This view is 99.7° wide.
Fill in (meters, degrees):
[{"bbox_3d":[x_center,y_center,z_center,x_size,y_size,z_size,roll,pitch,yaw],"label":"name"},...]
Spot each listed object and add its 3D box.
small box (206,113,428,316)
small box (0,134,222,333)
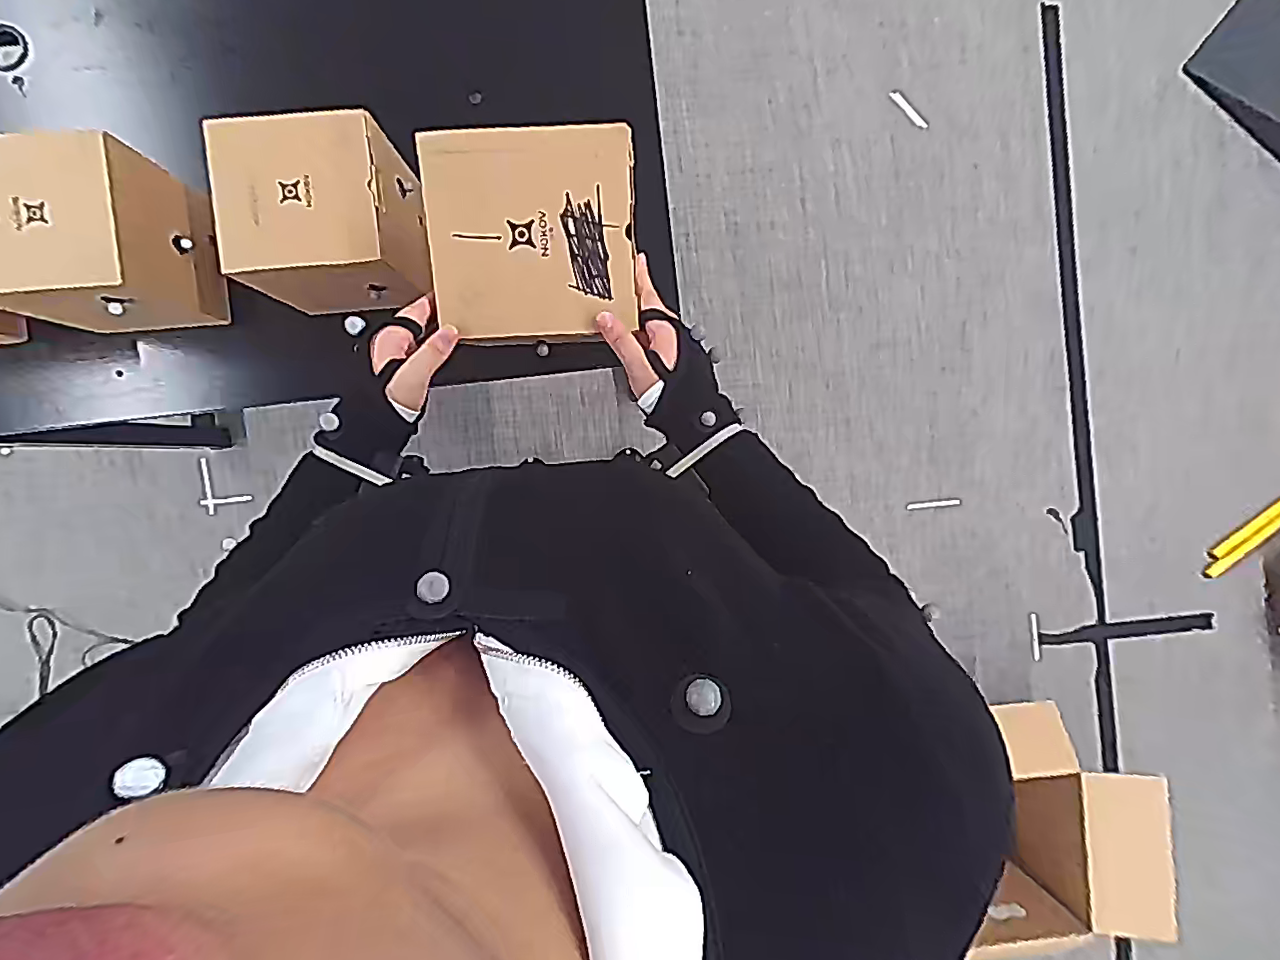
[{"bbox_3d":[-0.376,-0.311,0.665,0.179,0.176,0.168,-6,91,-1],"label":"small box"},{"bbox_3d":[-0.648,-0.283,0.654,0.179,0.176,0.168,-5,92,-2],"label":"small box"}]
